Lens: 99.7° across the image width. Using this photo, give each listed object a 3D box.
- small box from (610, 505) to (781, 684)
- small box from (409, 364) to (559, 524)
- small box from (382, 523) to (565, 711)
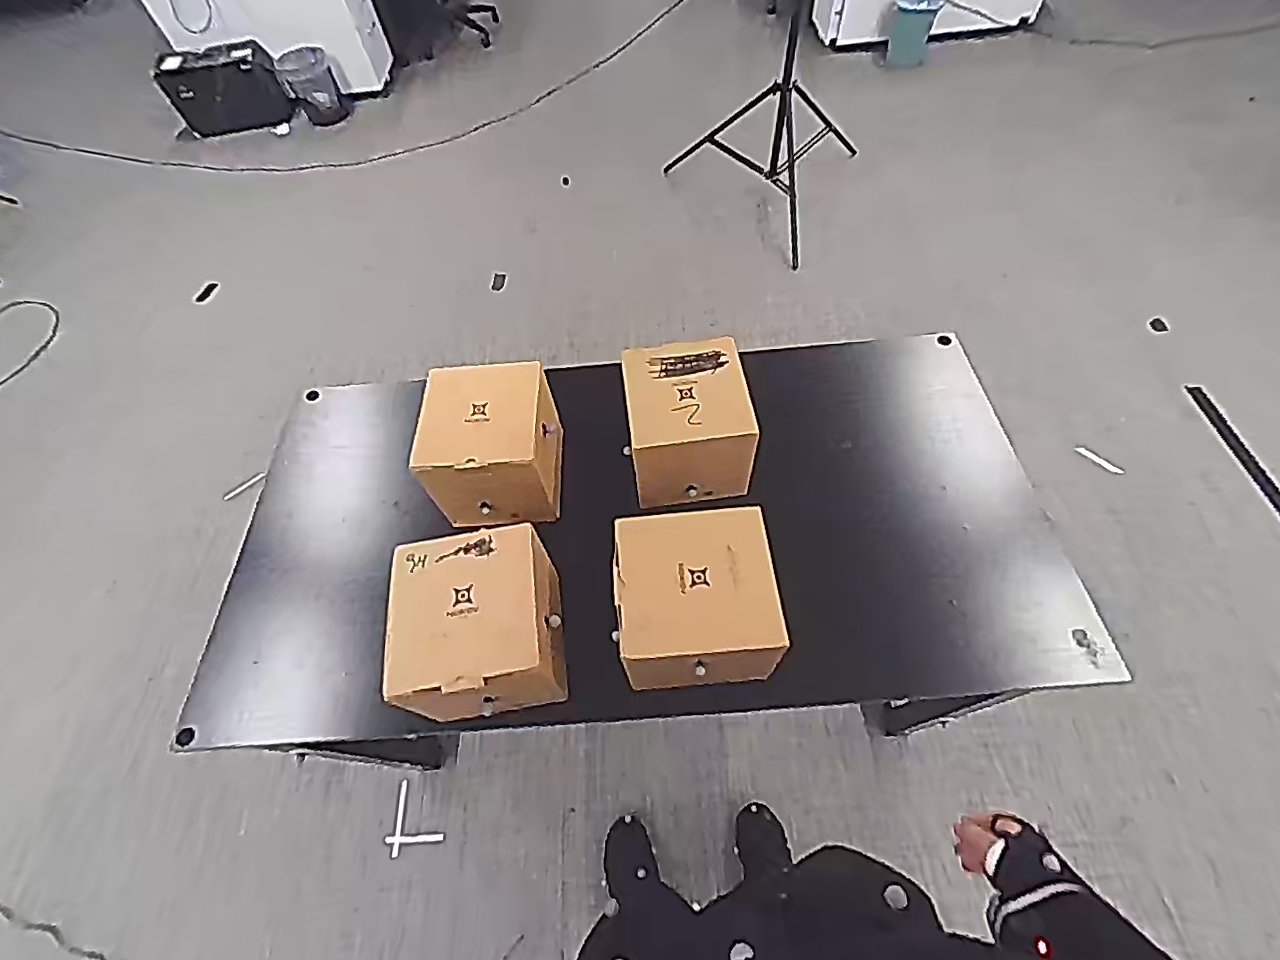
[{"bbox_3d":[0.062,0.148,0.670,0.179,0.176,0.168,-5,59,0],"label":"small box"},{"bbox_3d":[-0.219,-0.050,0.813,0.168,0.176,0.179,-4,59,2],"label":"small box"},{"bbox_3d":[-0.194,0.178,0.670,0.168,0.176,0.179,-10,59,-1],"label":"small box"}]
